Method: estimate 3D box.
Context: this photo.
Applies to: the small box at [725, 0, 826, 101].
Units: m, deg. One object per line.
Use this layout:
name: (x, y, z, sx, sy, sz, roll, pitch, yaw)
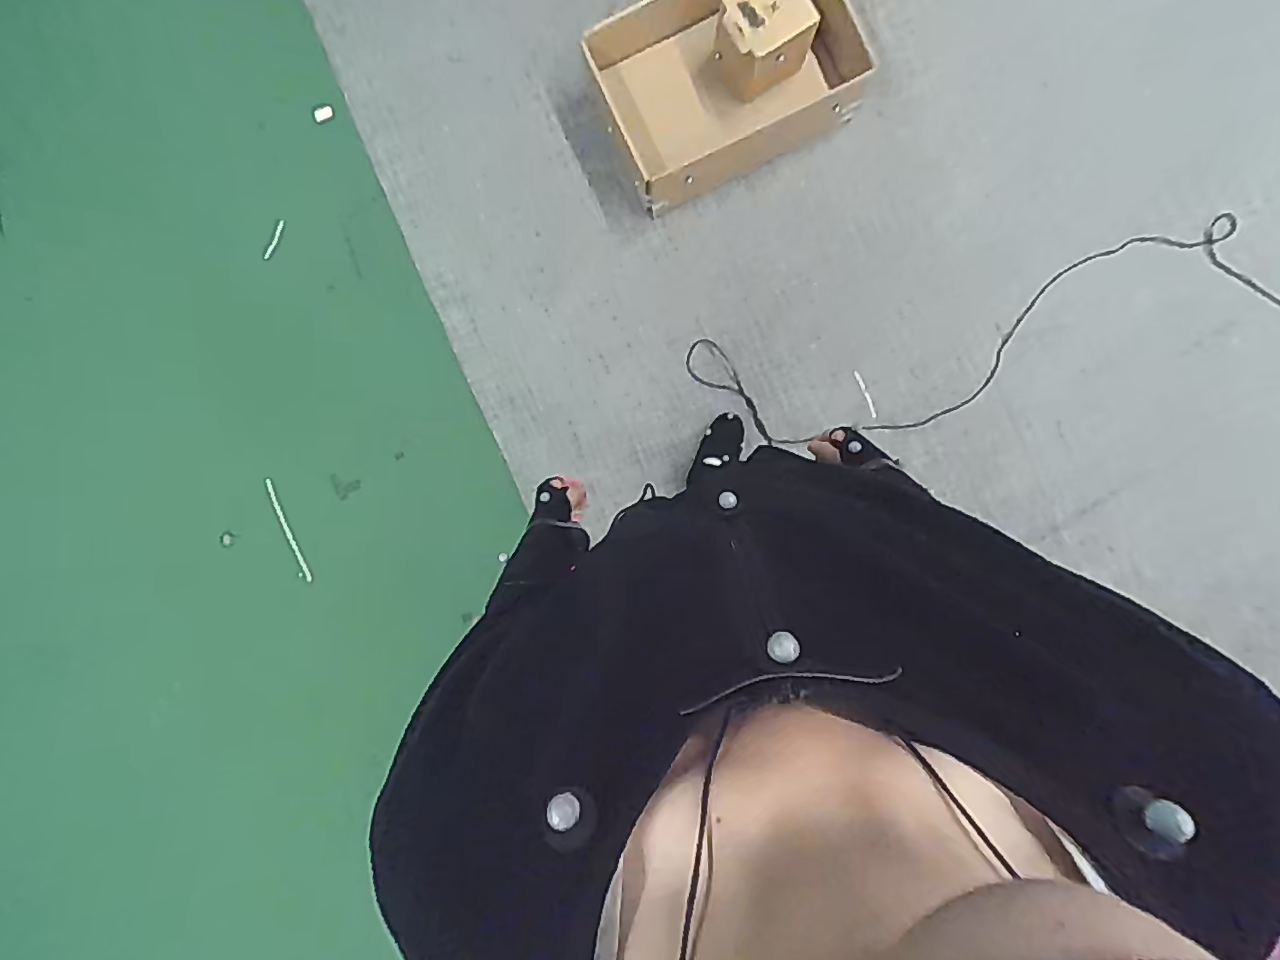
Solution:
small box: (0.322, -1.097, 1.336, 0.179, 0.176, 0.168, -32, 91, 3)
